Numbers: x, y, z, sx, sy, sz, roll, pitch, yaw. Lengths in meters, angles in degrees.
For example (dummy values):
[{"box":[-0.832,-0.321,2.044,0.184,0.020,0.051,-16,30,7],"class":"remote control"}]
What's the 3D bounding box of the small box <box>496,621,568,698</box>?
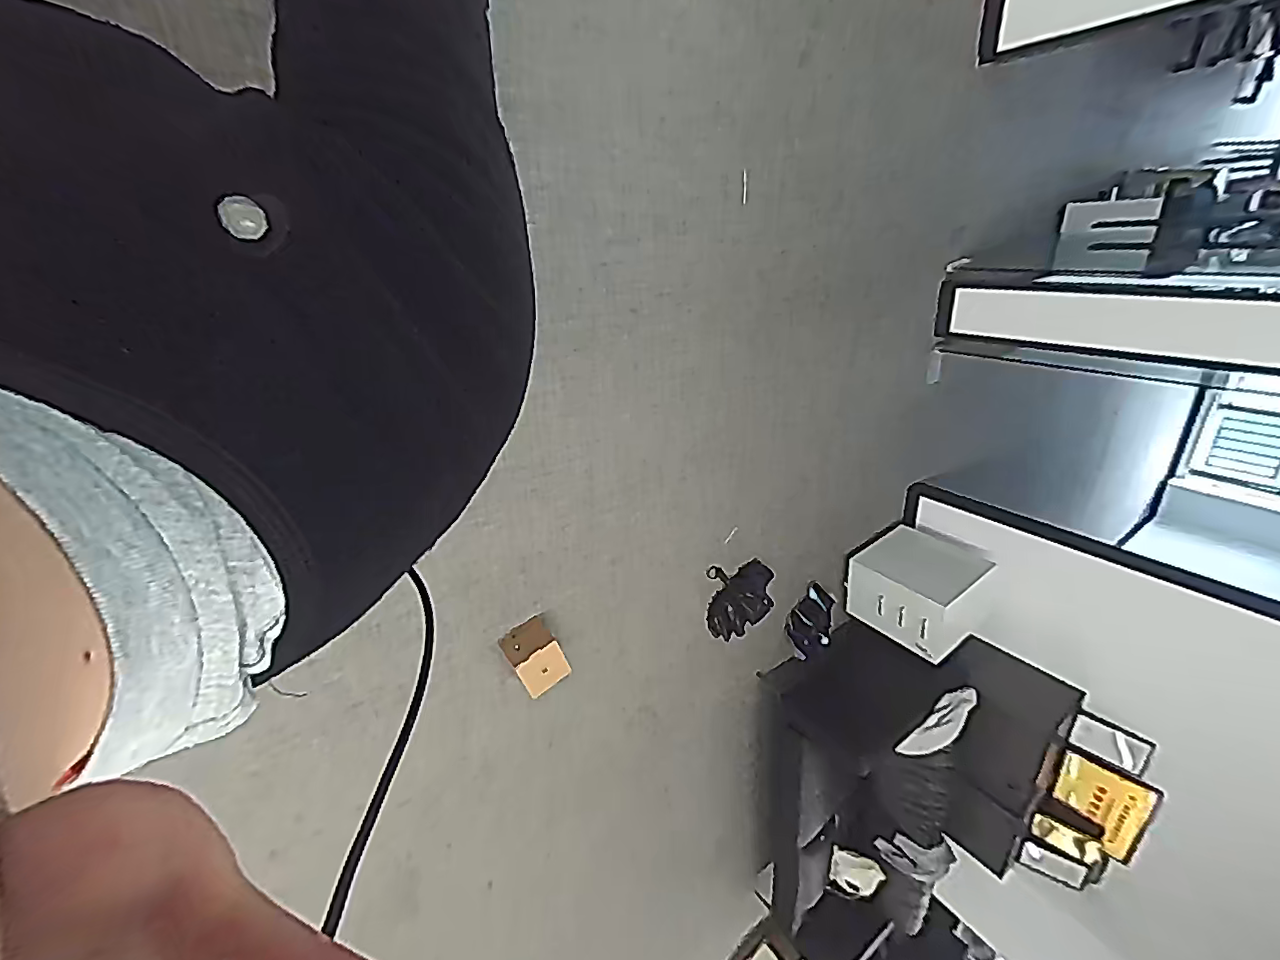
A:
[{"box":[-0.389,0.631,1.933,0.168,0.176,0.179,-33,127,-21],"class":"small box"}]
